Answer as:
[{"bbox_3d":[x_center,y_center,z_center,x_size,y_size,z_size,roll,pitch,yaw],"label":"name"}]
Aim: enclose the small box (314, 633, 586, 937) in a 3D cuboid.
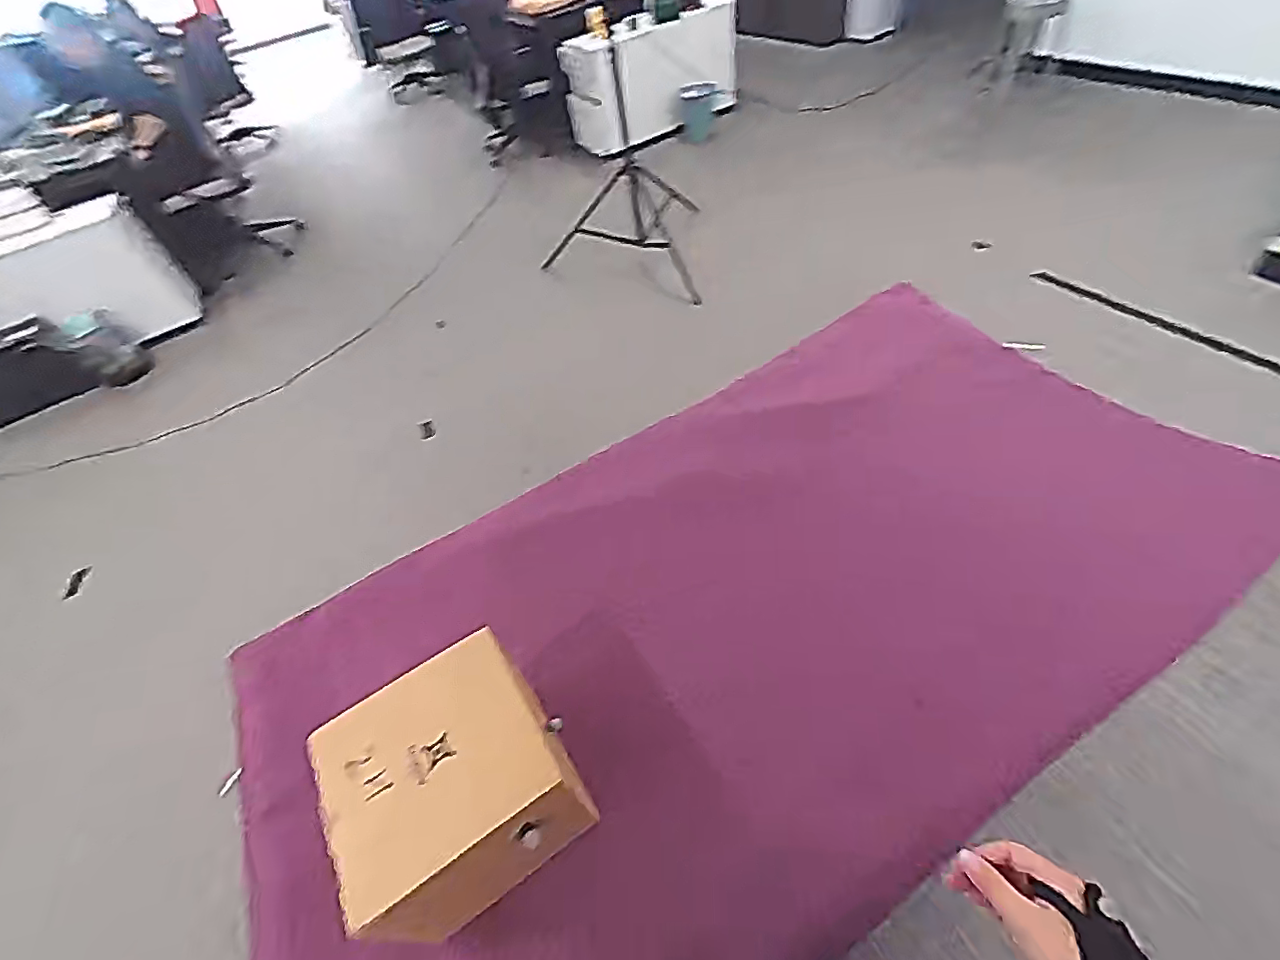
[{"bbox_3d":[-0.165,0.287,0.514,0.179,0.176,0.168,-30,50,-17],"label":"small box"}]
